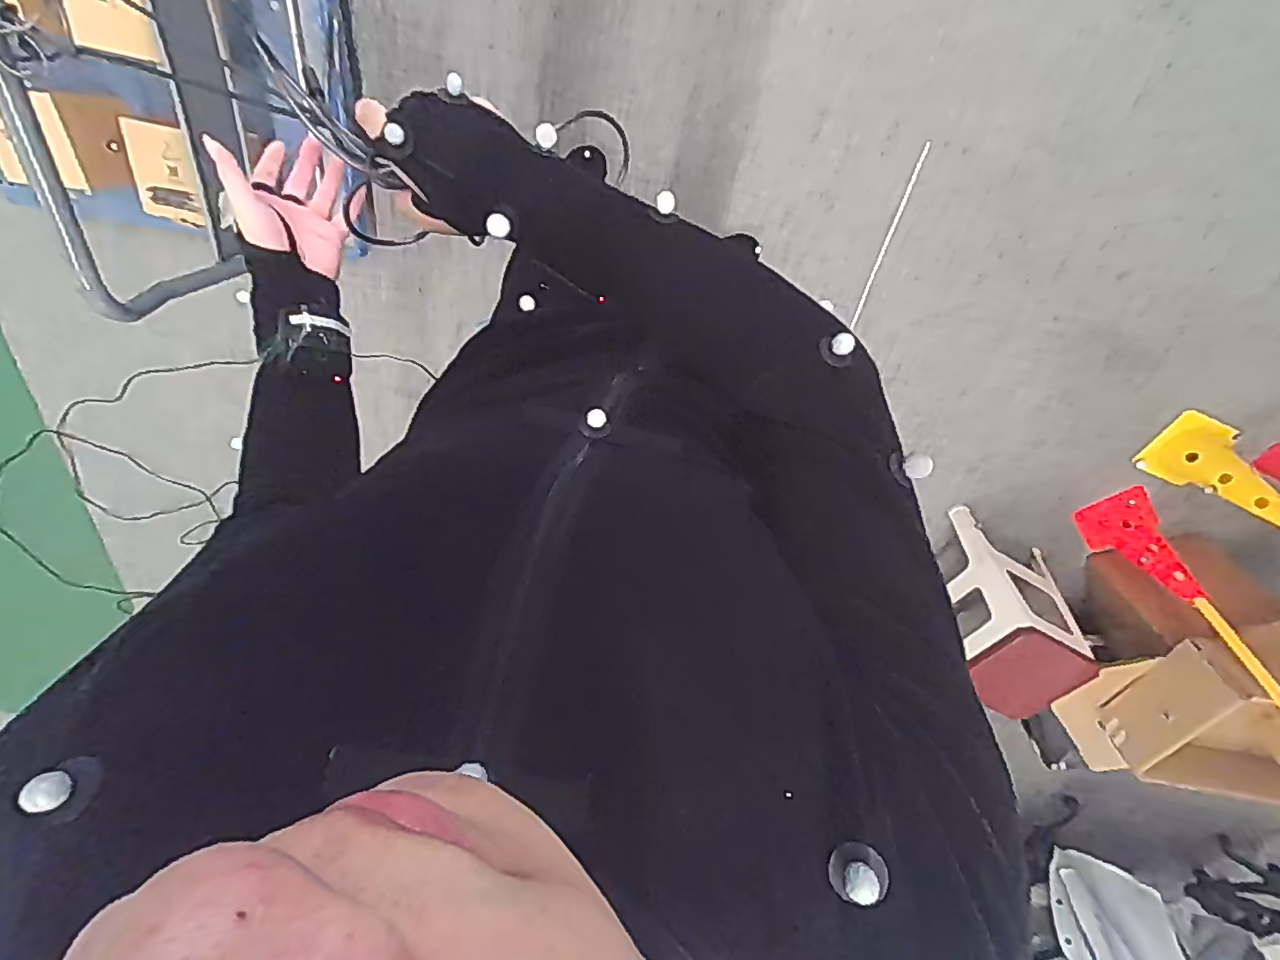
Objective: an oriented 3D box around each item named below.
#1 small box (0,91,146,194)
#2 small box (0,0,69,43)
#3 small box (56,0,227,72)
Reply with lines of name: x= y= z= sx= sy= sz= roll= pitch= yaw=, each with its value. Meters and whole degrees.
small box: x=-1.202 y=-0.711 z=1.136 sx=0.179 sy=0.176 sz=0.168 roll=6 pitch=123 yaw=1
small box: x=-1.167 y=-0.921 z=0.994 sx=0.179 sy=0.176 sz=0.168 roll=7 pitch=124 yaw=0
small box: x=-0.924 y=-0.877 z=1.002 sx=0.179 sy=0.176 sz=0.168 roll=11 pitch=124 yaw=-2
